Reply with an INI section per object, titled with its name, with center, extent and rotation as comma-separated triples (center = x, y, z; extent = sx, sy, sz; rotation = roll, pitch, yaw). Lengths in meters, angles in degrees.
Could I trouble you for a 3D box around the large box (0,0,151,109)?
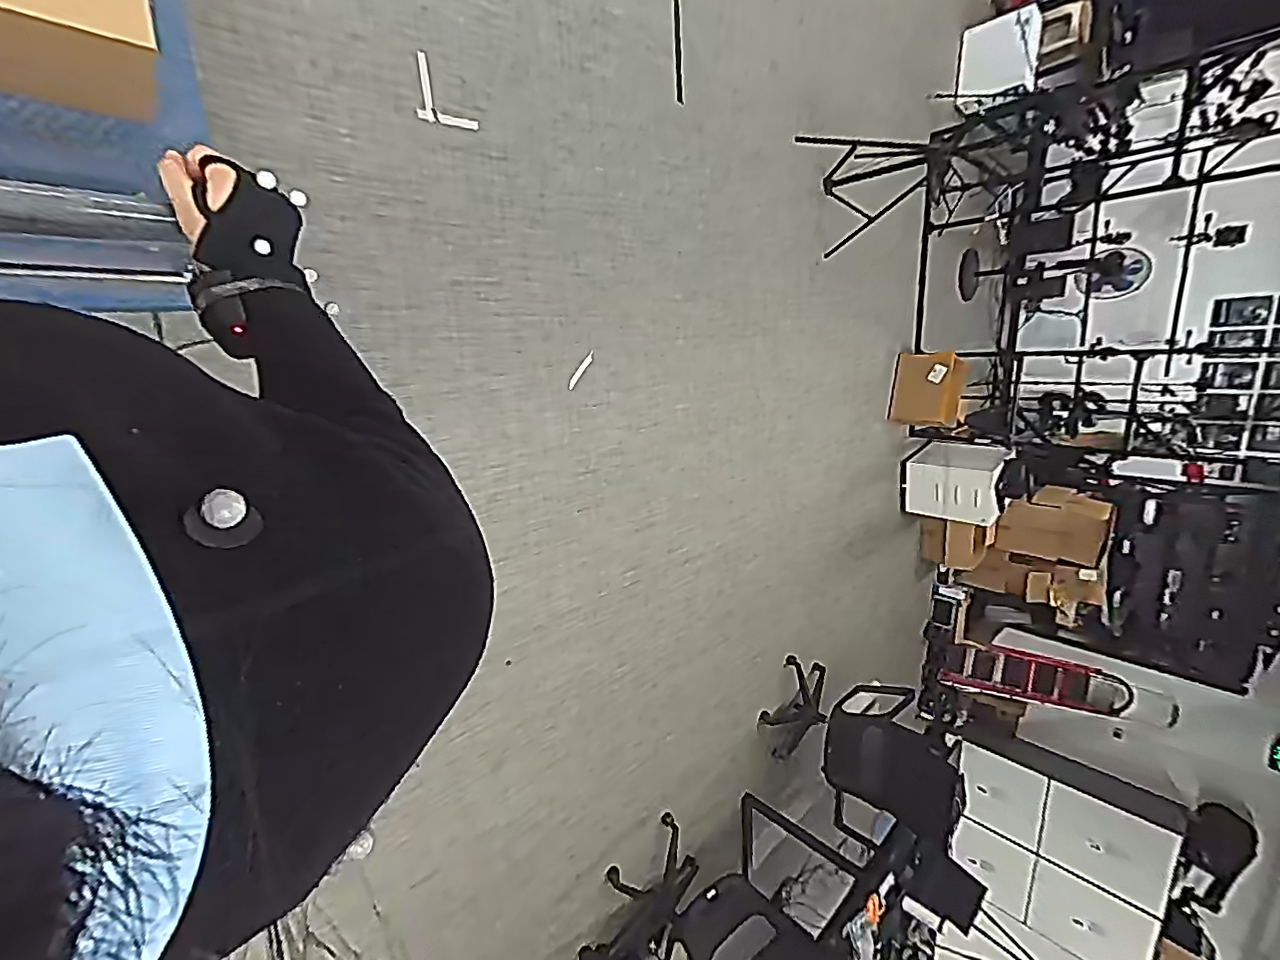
[large box]
center = -0.913, -0.730, 0.674
extent = 0.408, 0.320, 0.320
rotation = -13, 107, -41
